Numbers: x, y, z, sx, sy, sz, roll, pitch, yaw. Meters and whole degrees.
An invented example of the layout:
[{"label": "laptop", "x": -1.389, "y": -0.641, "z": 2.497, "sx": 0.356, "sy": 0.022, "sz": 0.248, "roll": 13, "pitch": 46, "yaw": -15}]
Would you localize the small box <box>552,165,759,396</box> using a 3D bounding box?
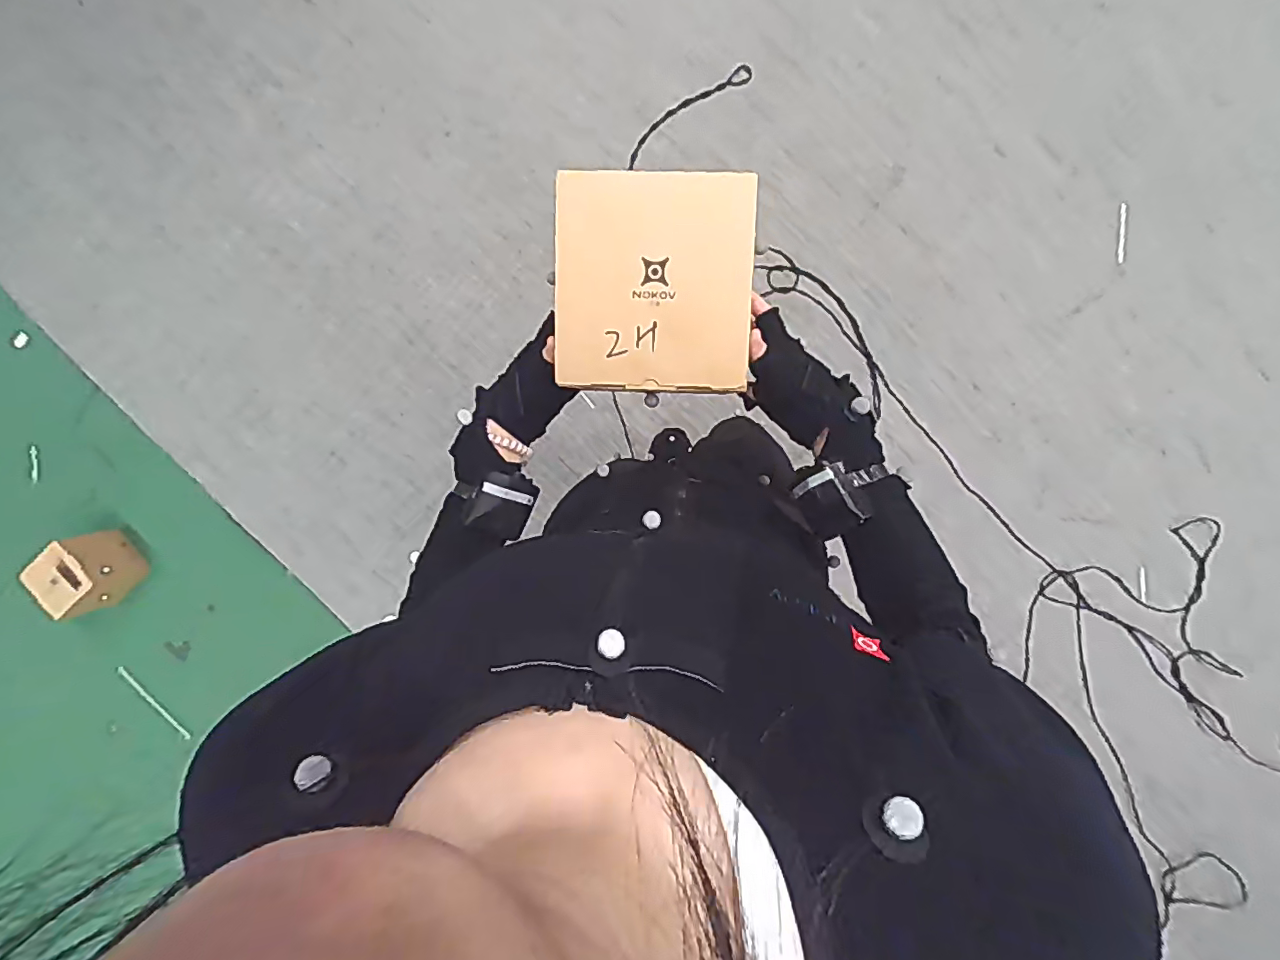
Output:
[{"label": "small box", "x": 0.013, "y": -0.174, "z": 0.522, "sx": 0.168, "sy": 0.176, "sz": 0.179, "roll": 2, "pitch": 98, "yaw": 2}]
